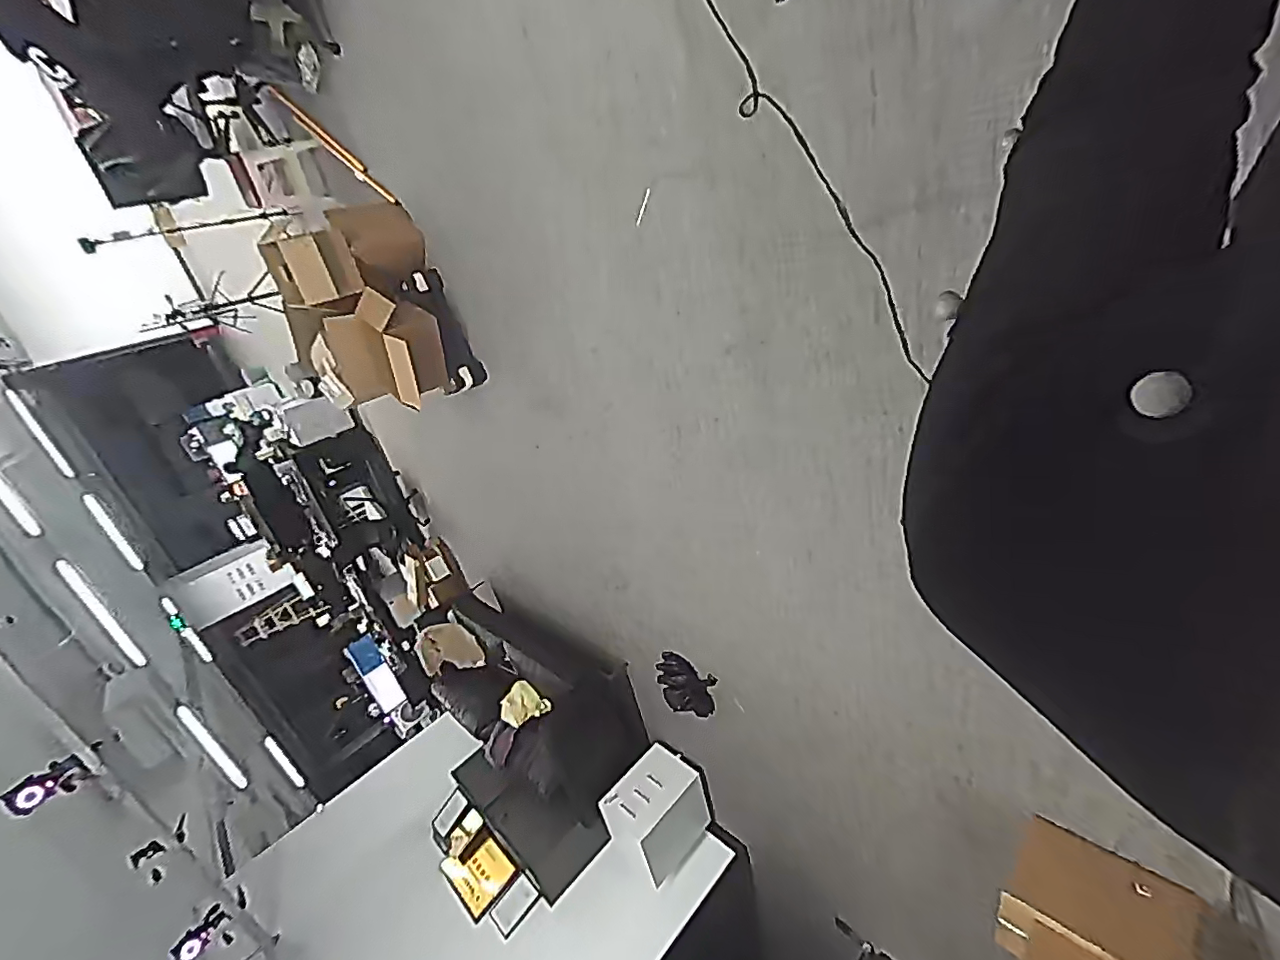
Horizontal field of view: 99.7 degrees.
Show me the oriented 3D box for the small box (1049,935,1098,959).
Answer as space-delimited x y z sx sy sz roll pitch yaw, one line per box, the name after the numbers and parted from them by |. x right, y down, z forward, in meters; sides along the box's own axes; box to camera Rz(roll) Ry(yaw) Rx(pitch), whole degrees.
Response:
1.229 1.430 1.492 0.179 0.176 0.168 15 125 48 | small box
